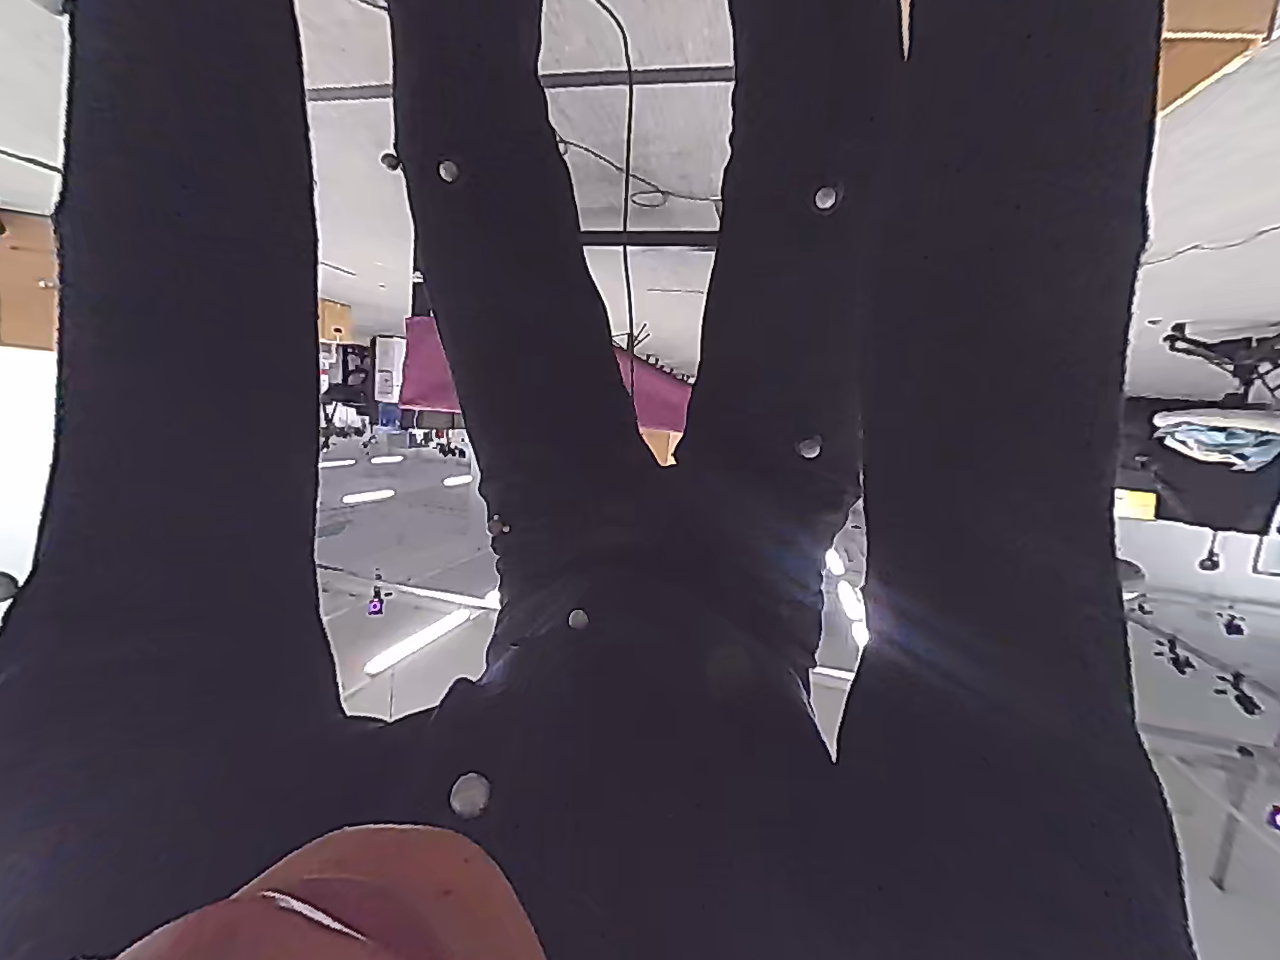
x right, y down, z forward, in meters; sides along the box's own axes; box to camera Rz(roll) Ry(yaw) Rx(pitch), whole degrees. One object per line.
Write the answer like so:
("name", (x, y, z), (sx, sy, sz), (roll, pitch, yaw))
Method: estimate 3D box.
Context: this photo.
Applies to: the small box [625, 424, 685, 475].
("small box", (0.057, -0.117, 1.986), (0.168, 0.176, 0.179), (9, -172, 21))
